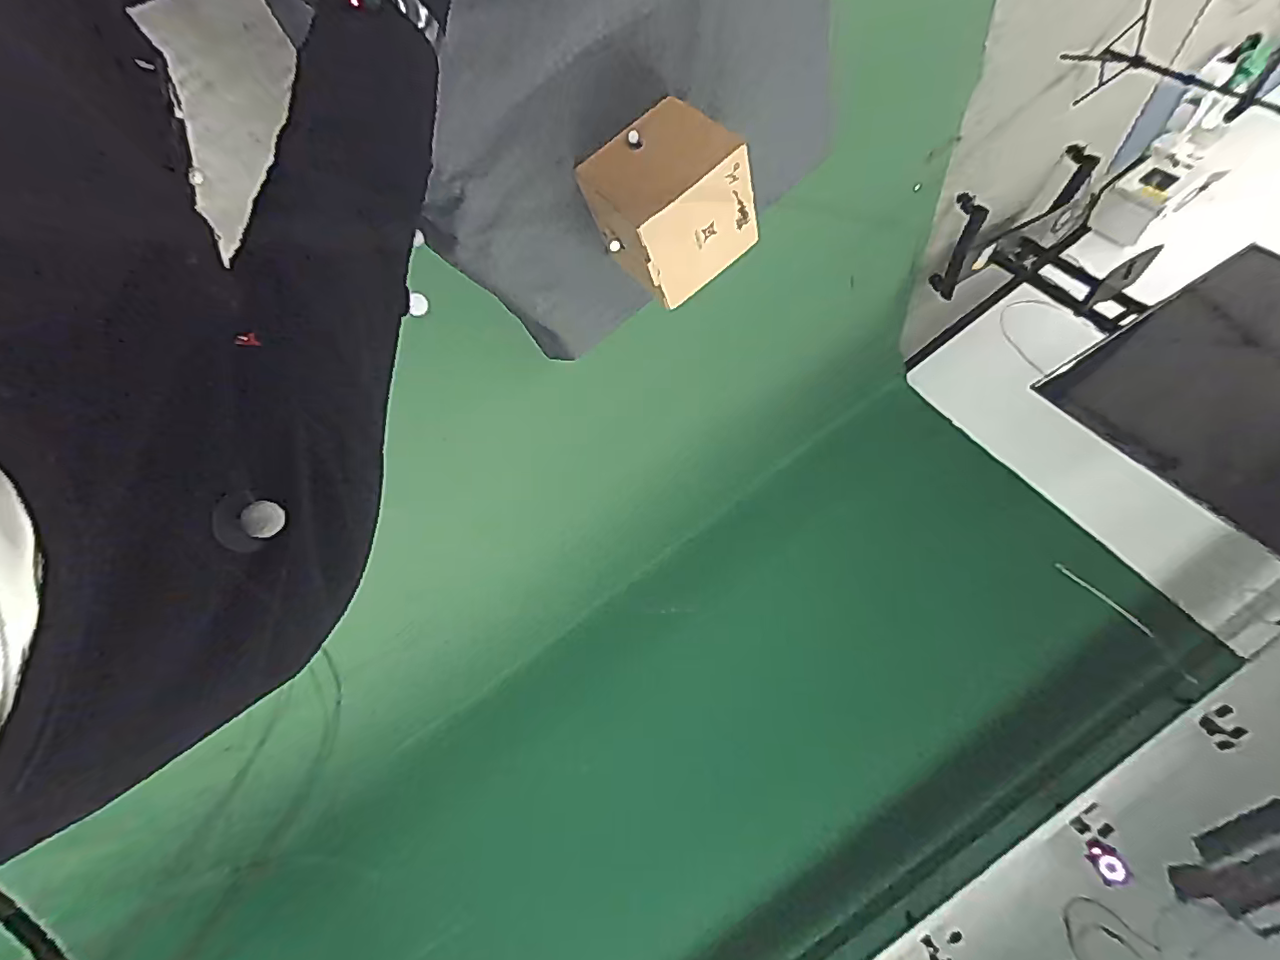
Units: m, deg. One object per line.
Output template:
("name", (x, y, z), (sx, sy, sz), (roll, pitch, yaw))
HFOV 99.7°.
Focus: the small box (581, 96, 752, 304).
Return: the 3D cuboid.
("small box", (0.036, -0.401, 0.784), (0.179, 0.176, 0.168), (-38, 153, 0))
